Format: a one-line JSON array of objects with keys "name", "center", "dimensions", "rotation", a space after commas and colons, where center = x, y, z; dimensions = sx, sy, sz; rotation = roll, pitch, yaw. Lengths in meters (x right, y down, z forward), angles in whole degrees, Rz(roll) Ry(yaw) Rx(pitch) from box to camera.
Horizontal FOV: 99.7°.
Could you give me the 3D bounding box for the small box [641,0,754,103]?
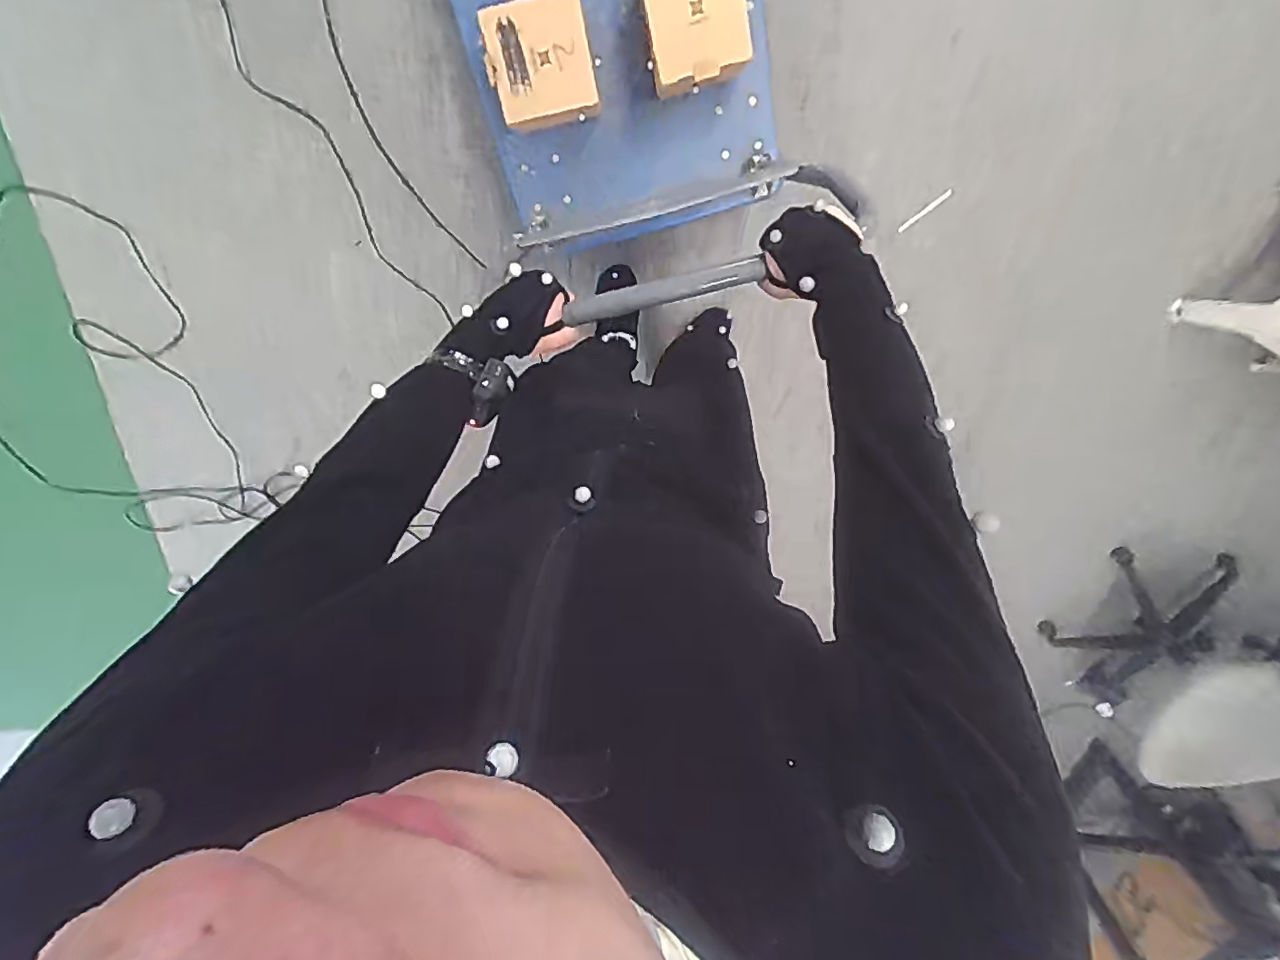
[{"name": "small box", "center": [0.098, -0.815, 0.976], "dimensions": [0.168, 0.176, 0.179], "rotation": [-12, 118, 6]}]
